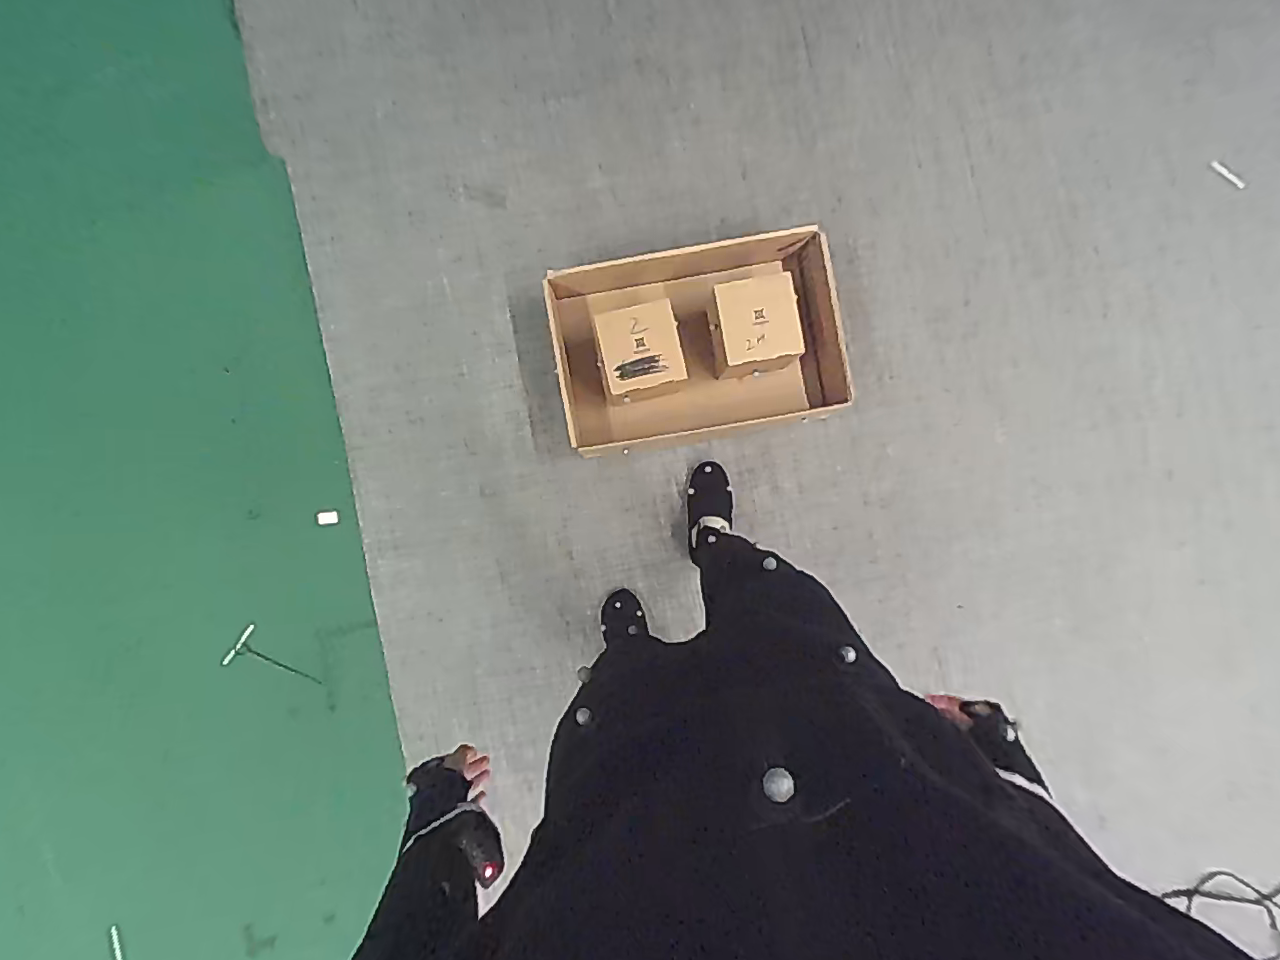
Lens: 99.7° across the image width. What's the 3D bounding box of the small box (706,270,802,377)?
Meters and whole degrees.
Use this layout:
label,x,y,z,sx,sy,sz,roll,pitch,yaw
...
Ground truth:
label,x,y,z,sx,sy,sz,roll,pitch,yaw
small box,0.247,-0.342,1.213,0.168,0.176,0.179,-10,90,1
